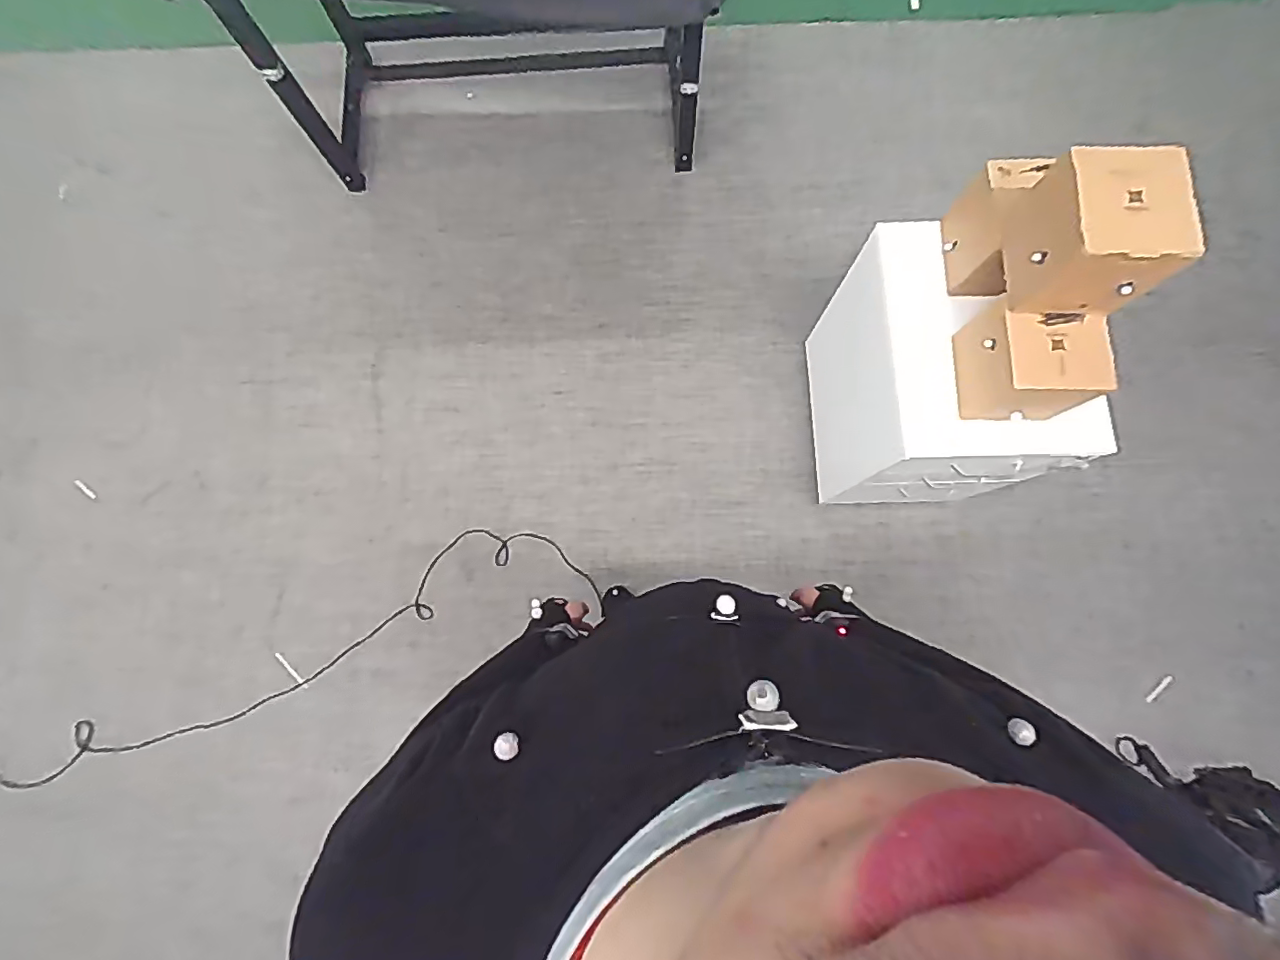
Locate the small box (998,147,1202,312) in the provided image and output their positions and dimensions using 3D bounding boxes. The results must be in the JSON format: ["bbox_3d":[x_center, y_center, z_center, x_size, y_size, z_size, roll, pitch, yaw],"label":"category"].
[{"bbox_3d":[0.693,-0.377,0.838,0.168,0.176,0.179,1,78,1],"label":"small box"}]

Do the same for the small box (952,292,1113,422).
[{"bbox_3d":[0.688,-0.215,0.971,0.168,0.176,0.179,1,79,2],"label":"small box"}]

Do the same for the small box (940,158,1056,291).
[{"bbox_3d":[0.695,-0.470,1.021,0.168,0.176,0.179,-1,81,1],"label":"small box"}]
